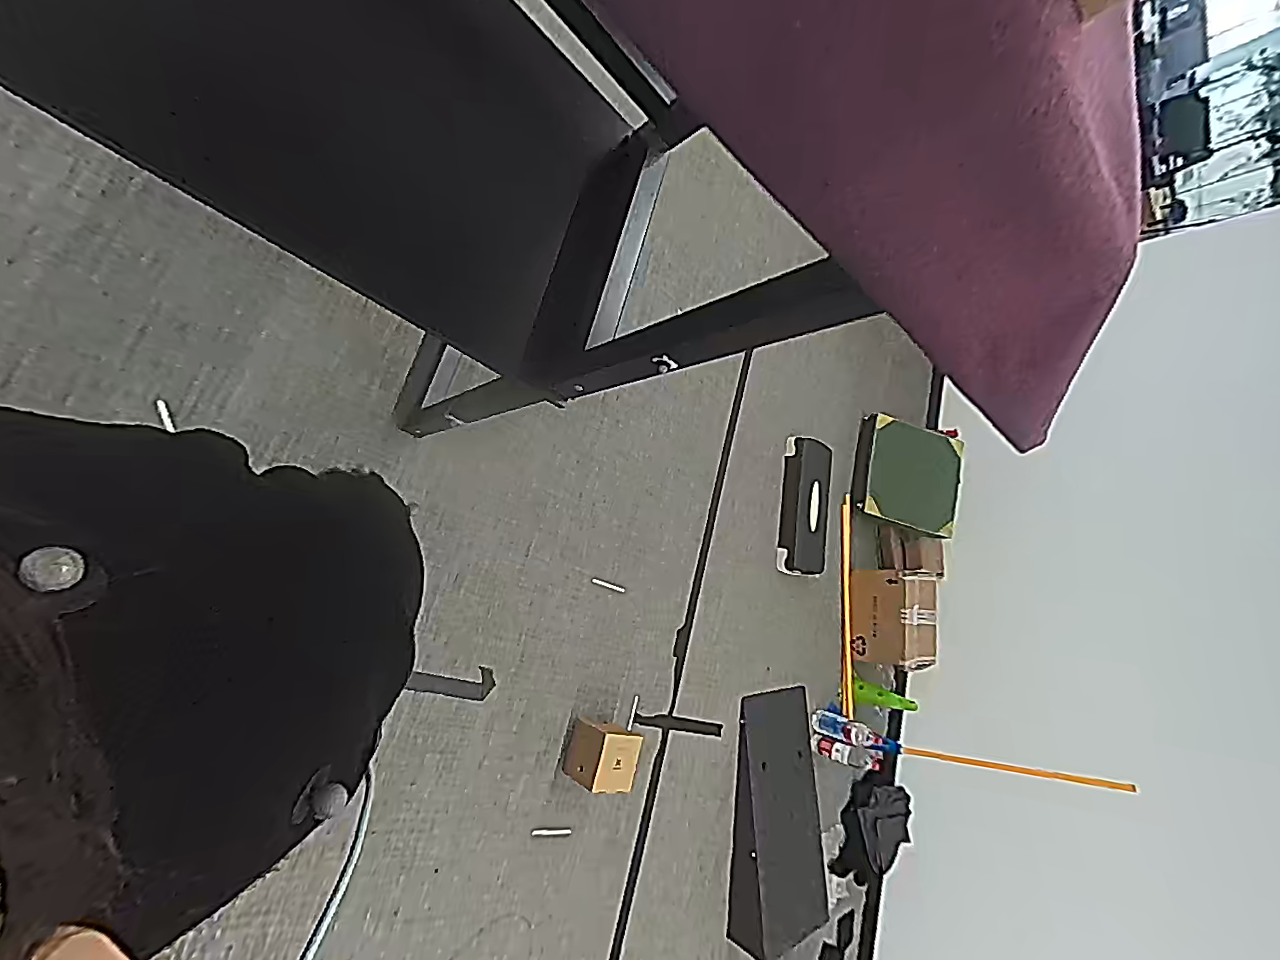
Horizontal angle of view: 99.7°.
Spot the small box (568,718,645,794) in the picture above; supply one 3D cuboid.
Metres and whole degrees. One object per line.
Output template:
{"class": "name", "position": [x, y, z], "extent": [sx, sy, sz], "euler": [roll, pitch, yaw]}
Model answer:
{"class": "small box", "position": [-0.115, 0.904, 1.774], "extent": [0.168, 0.176, 0.179], "euler": [26, 72, -37]}
